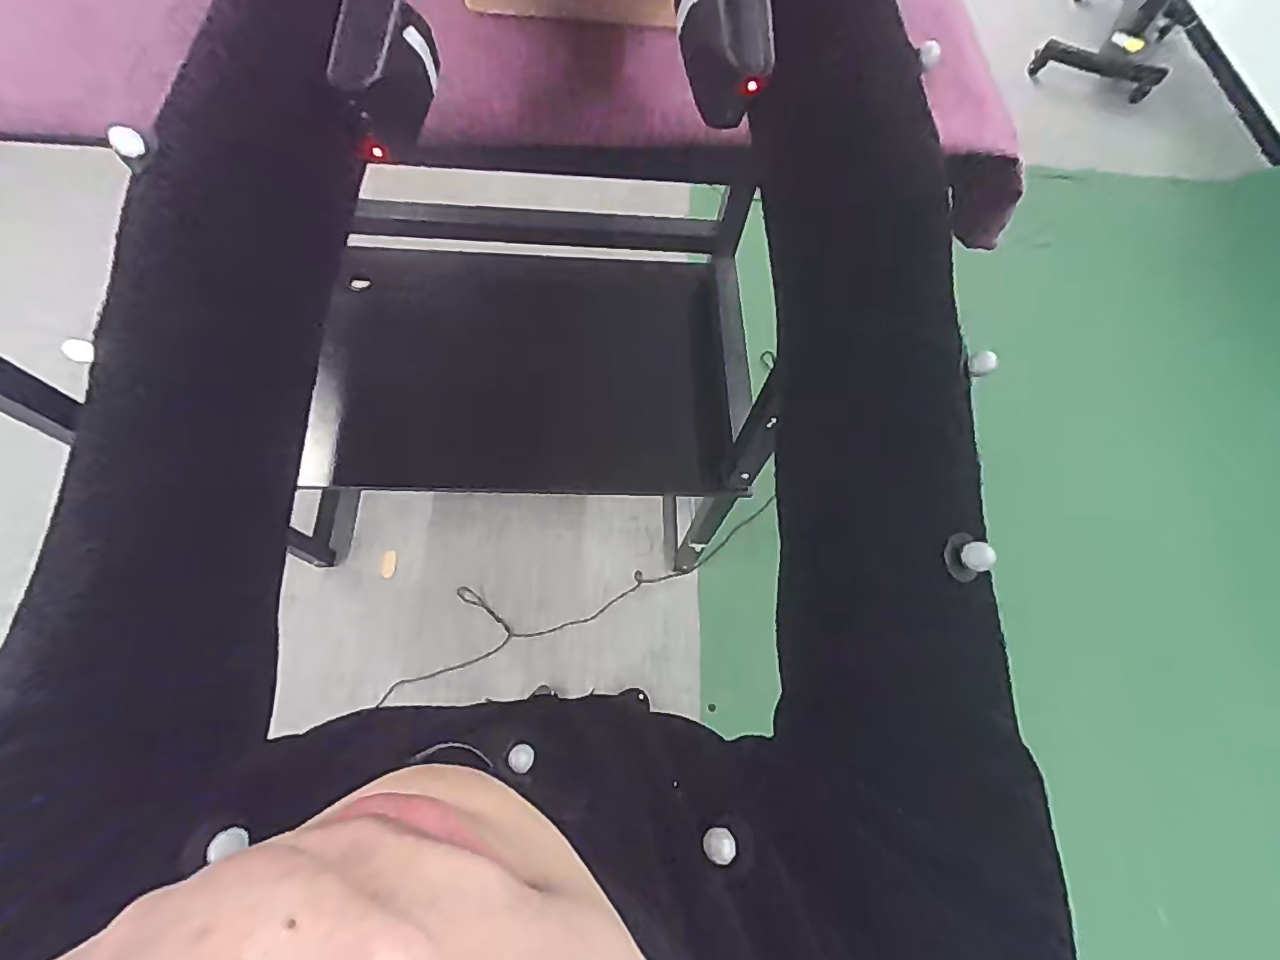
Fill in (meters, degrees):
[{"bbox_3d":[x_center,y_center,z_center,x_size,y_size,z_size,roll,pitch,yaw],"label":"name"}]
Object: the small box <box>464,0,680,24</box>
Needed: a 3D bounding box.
[{"bbox_3d":[-0.044,-0.460,0.376,0.179,0.176,0.168,1,64,-4],"label":"small box"}]
